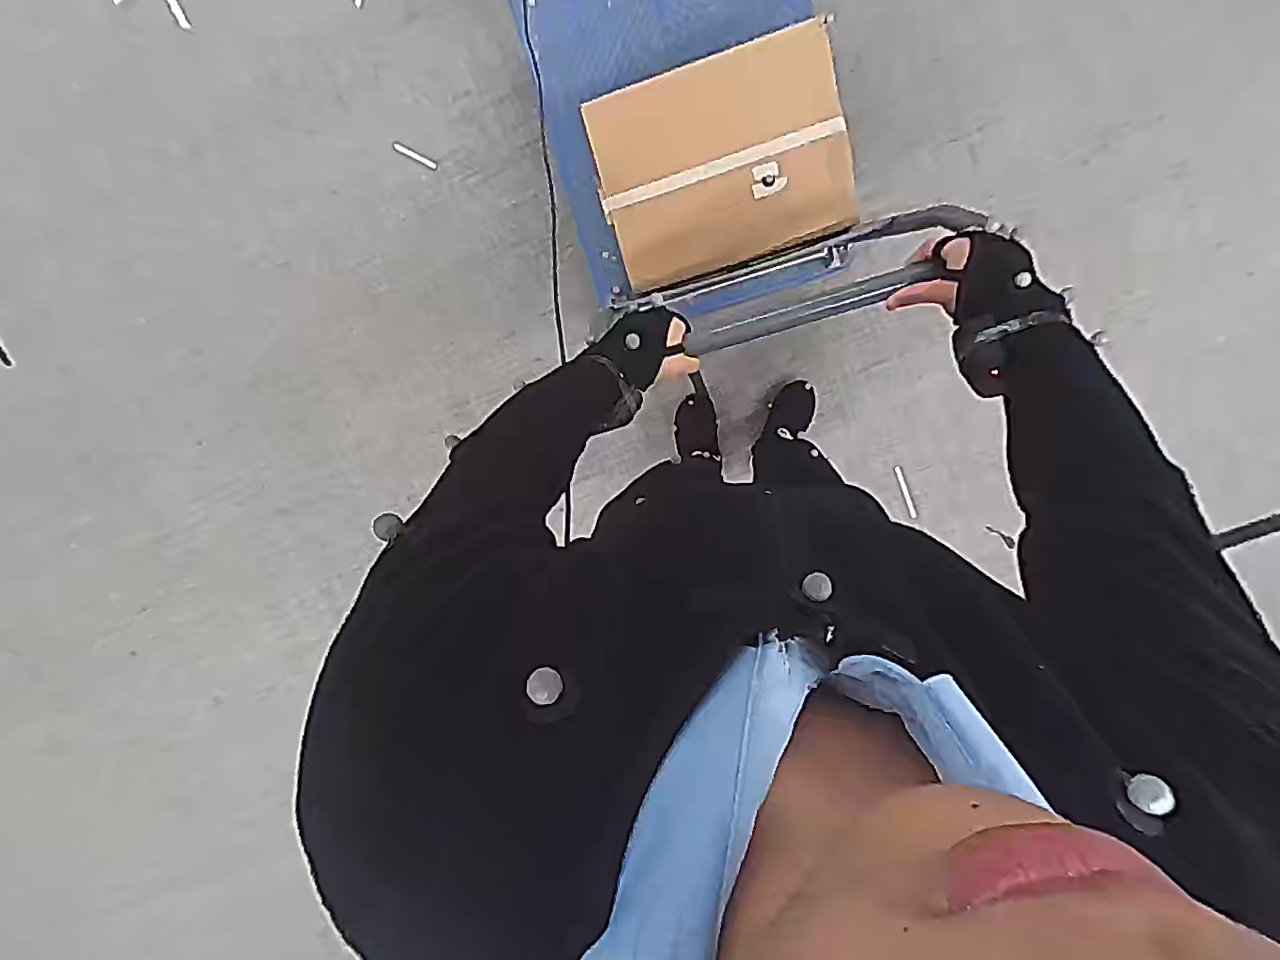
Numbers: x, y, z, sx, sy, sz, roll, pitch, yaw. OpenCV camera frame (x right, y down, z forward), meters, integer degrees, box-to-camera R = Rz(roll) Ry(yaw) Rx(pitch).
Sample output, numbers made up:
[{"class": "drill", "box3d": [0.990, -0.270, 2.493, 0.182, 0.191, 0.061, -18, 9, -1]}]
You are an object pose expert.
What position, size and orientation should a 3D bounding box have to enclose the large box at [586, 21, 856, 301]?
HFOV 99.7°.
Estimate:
[{"class": "large box", "box3d": [0.146, -0.571, 1.059, 0.408, 0.320, 0.320, -16, 106, 7]}]
